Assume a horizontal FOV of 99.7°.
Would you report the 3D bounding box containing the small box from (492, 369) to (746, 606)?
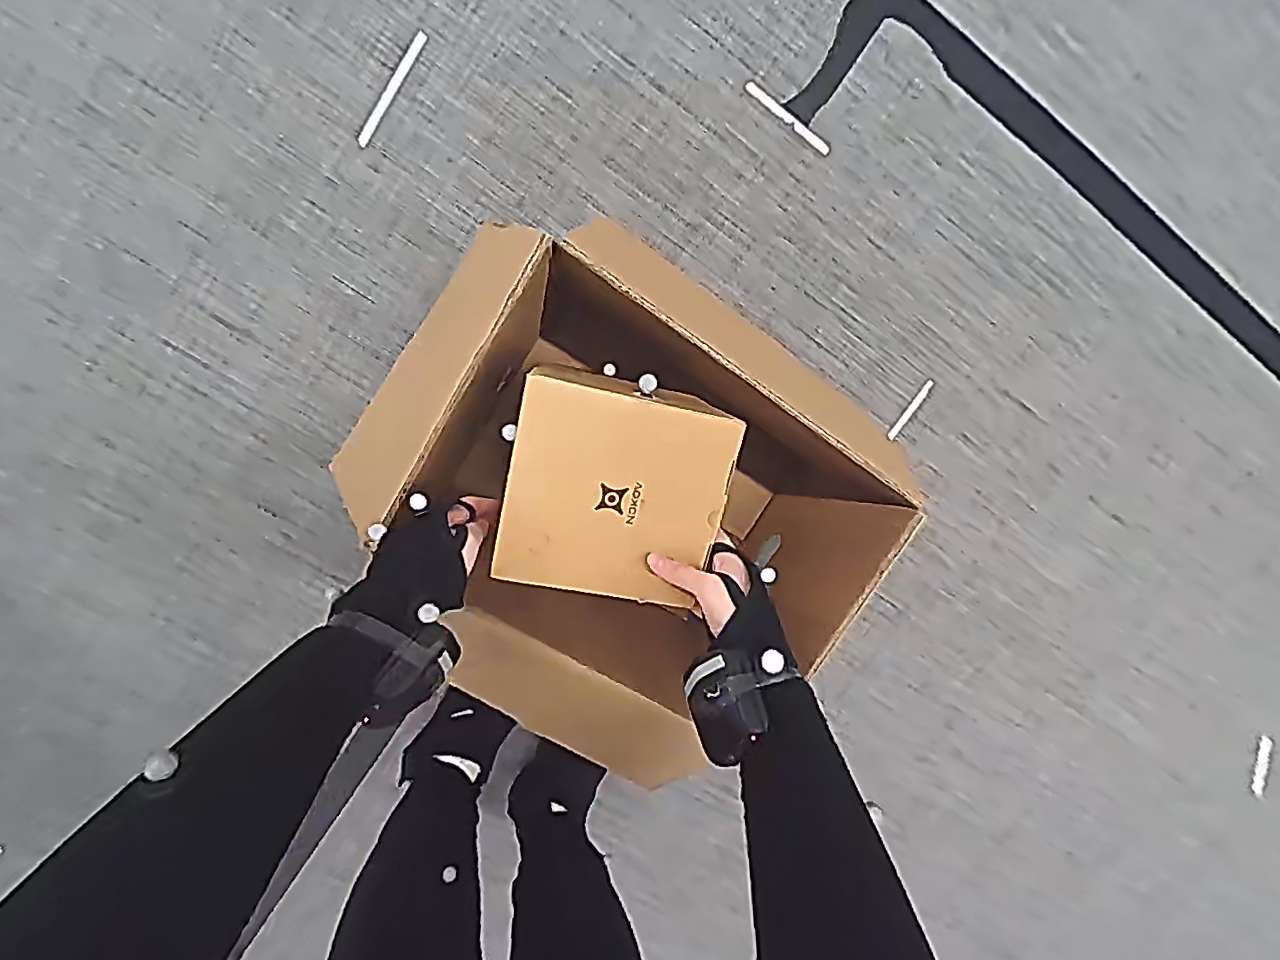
[{"bbox_3d":[-0.029,-0.005,0.507,0.179,0.176,0.168,11,103,-12],"label":"small box"}]
